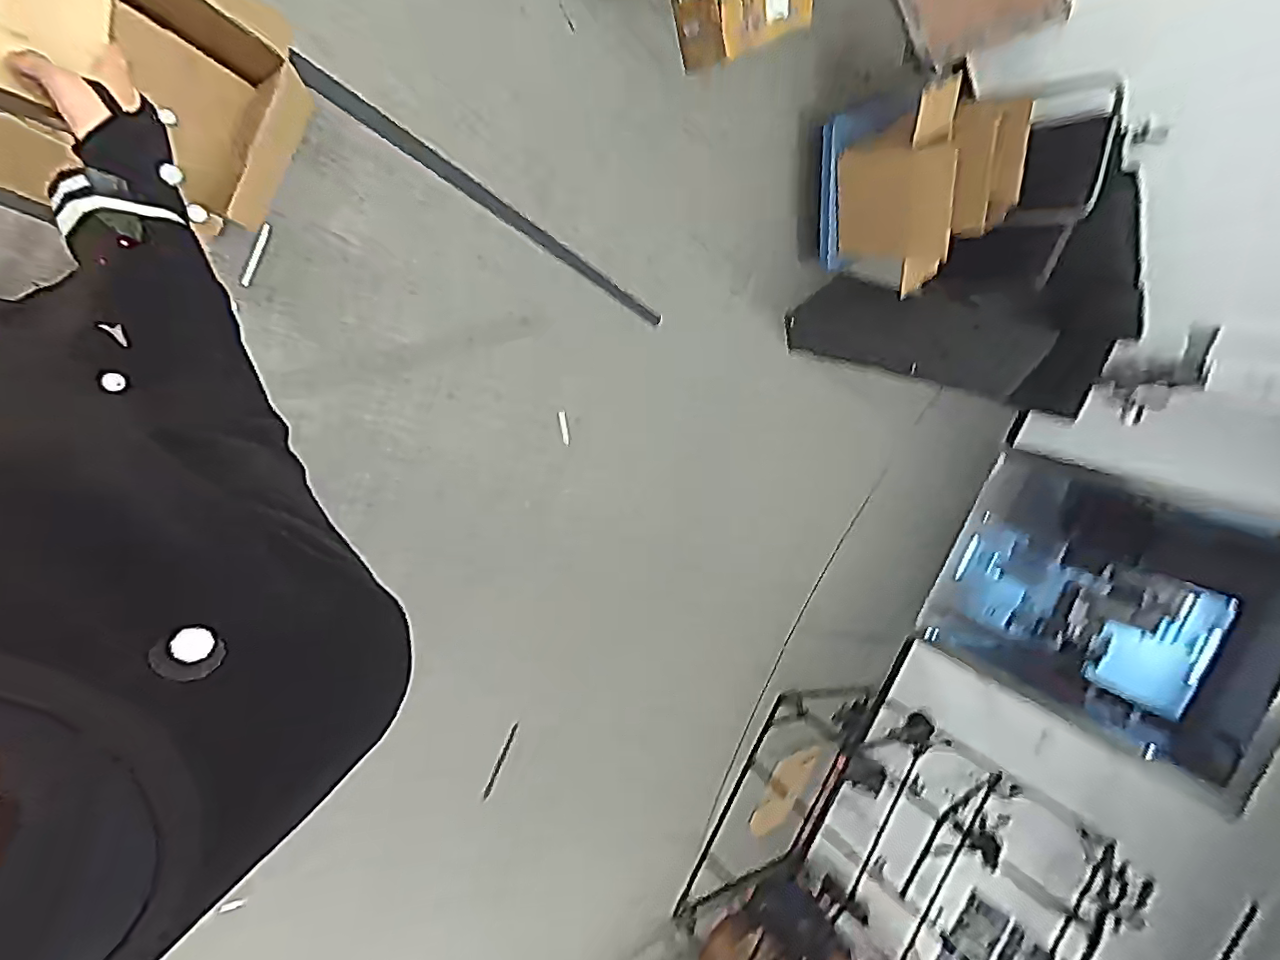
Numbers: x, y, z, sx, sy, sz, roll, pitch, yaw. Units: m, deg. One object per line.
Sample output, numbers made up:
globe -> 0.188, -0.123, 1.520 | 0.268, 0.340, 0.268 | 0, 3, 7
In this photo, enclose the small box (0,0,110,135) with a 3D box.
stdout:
small box -> -0.576, -0.420, 0.450 | 0.168, 0.176, 0.179 | -2, 110, -55
